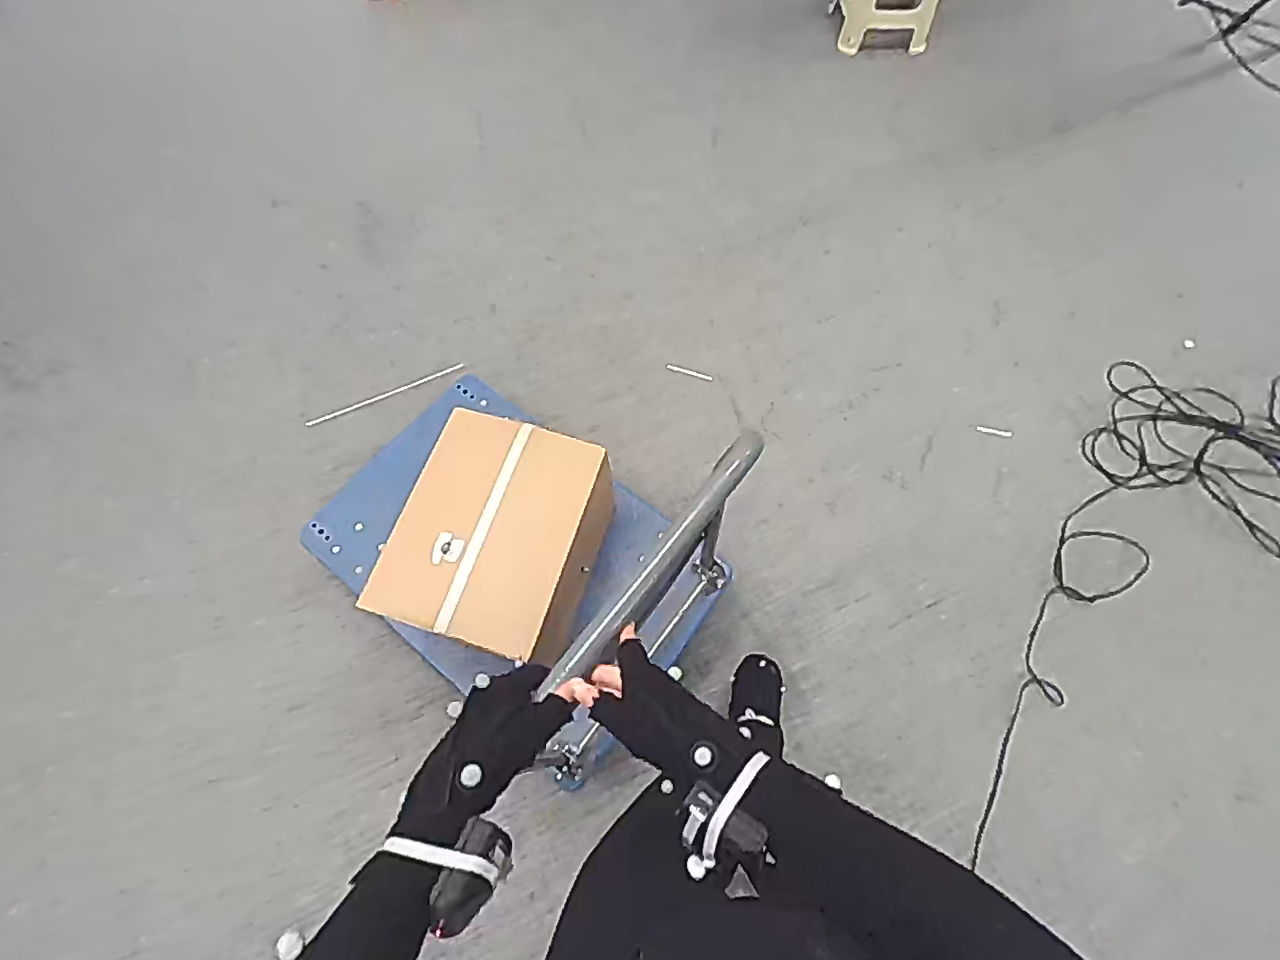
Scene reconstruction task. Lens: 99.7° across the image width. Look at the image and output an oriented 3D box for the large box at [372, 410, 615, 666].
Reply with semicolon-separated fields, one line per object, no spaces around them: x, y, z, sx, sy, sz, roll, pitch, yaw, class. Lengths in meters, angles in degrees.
-0.255;0.131;1.103;0.320;0.320;0.408;16;70;7;large box
